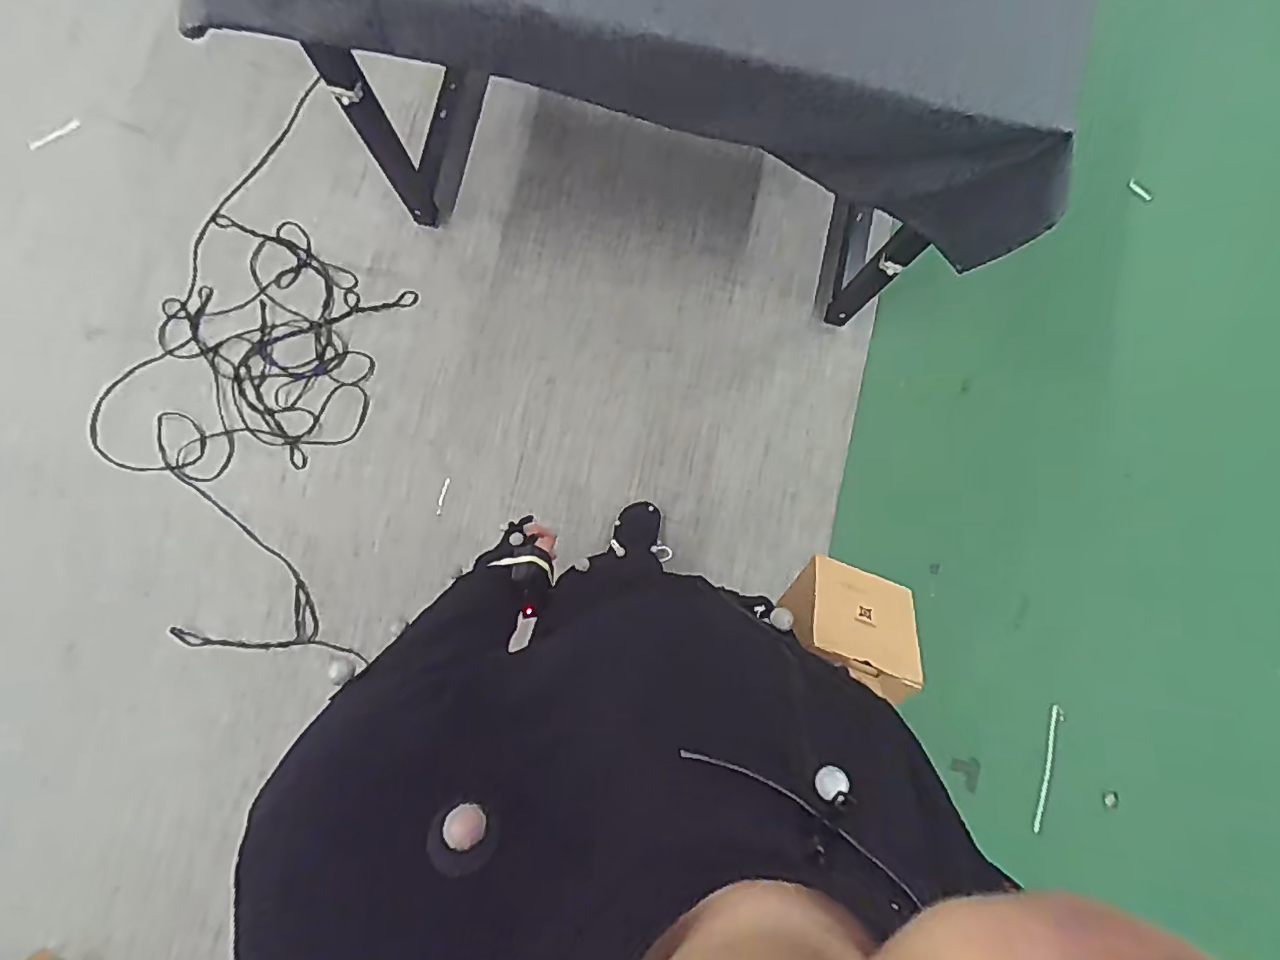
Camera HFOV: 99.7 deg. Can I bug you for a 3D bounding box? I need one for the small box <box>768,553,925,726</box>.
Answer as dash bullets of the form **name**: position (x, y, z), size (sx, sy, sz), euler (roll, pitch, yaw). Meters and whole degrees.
- **small box**: position (0.314, 0.253, 0.849), size (0.168, 0.176, 0.179), euler (22, 42, 1)
